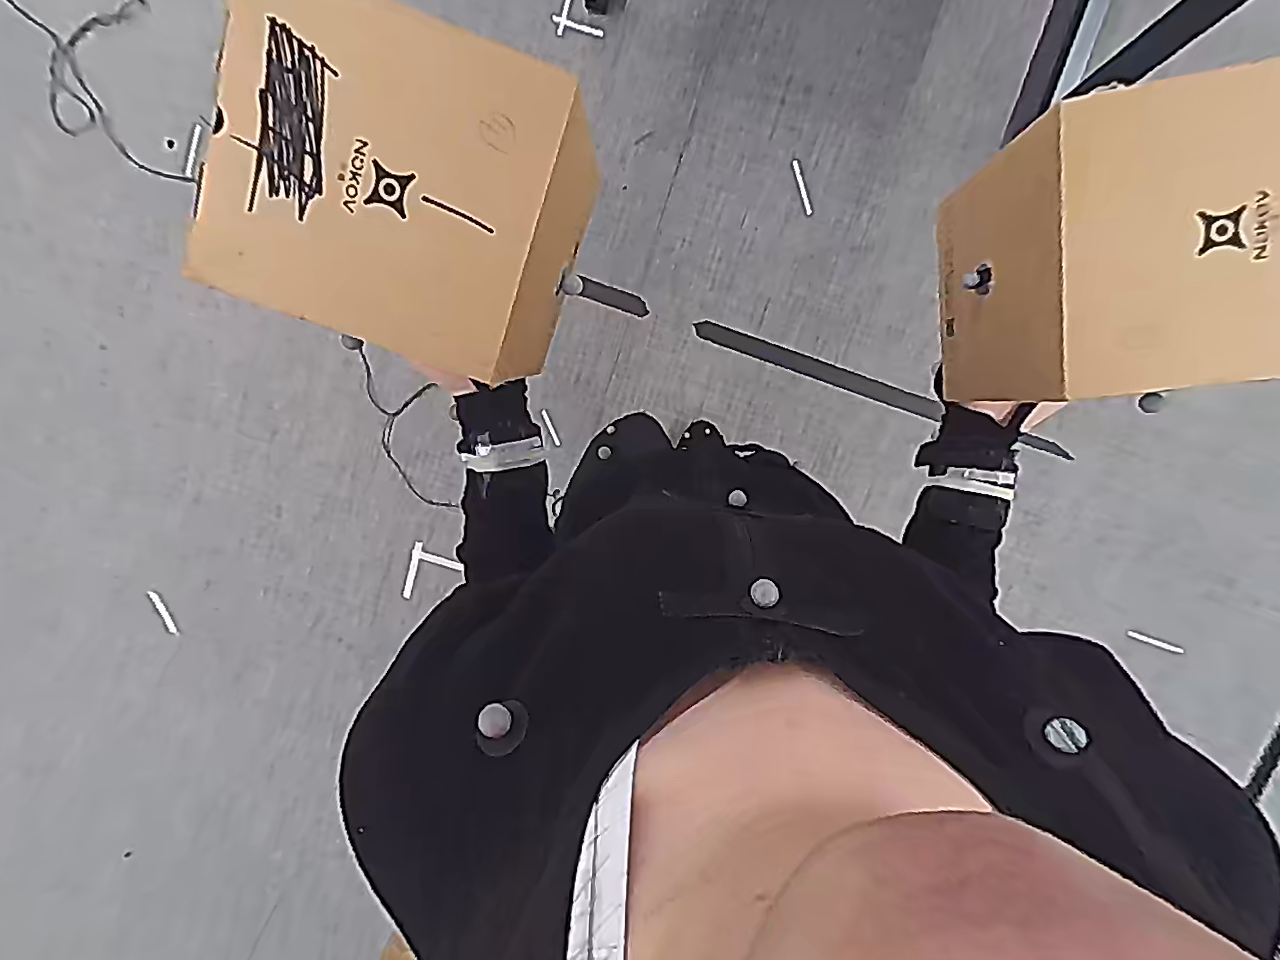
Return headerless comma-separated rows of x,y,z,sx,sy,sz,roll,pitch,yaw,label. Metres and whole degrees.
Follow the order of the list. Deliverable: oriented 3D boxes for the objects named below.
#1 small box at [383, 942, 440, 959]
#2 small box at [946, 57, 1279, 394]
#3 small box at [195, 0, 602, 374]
-0.410,0.955,0.923,0.168,0.176,0.179,21,99,0,small box
0.332,-0.150,0.373,0.179,0.176,0.168,-6,98,7,small box
-0.134,-0.178,0.362,0.179,0.176,0.168,19,103,-6,small box
